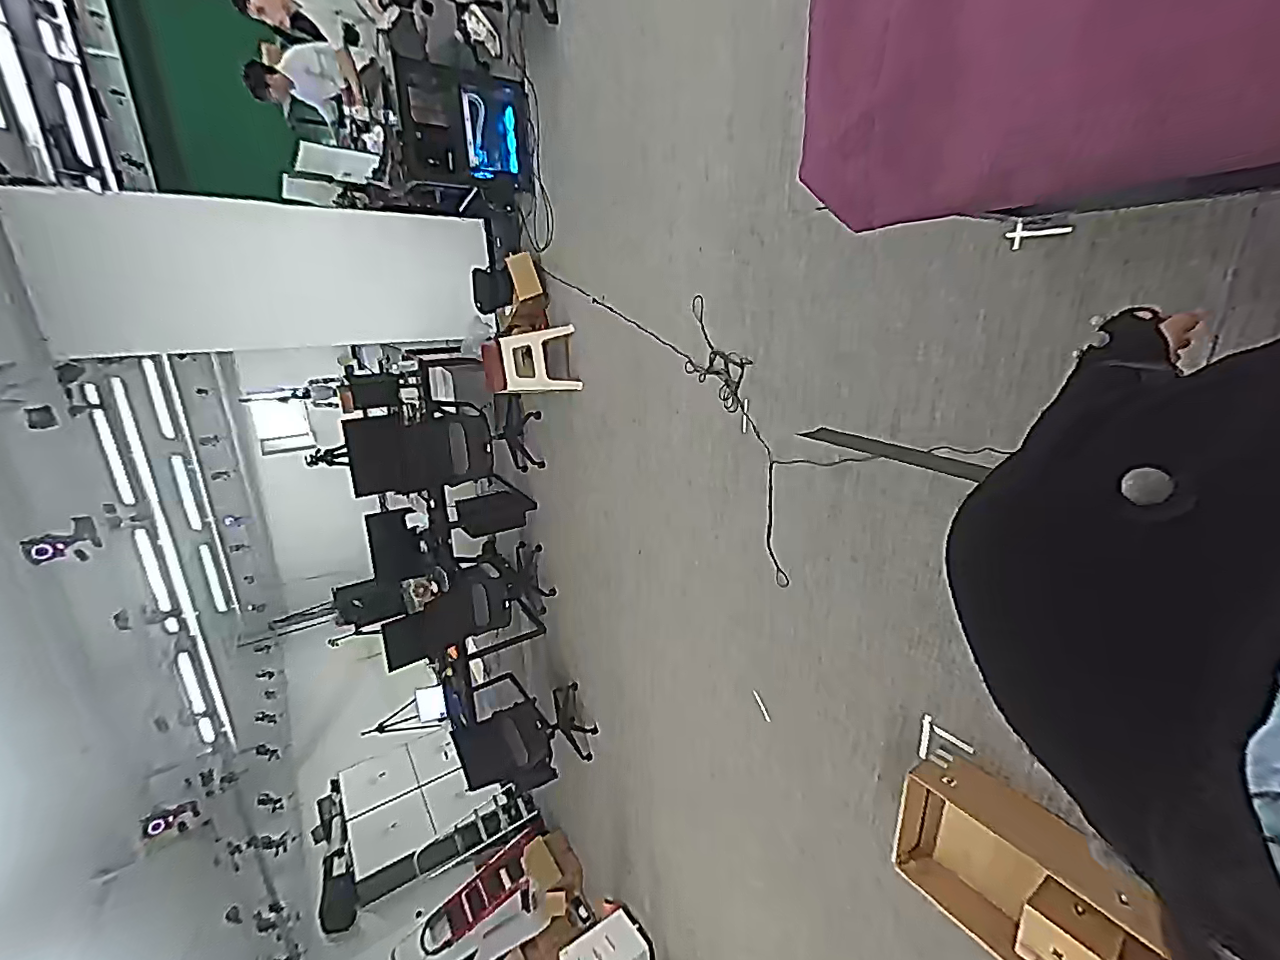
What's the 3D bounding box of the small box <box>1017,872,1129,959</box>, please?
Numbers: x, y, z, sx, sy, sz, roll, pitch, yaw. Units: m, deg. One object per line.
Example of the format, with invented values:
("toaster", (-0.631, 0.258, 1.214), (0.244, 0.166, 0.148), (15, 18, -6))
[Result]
("small box", (1.105, 1.162, 1.379), (0.168, 0.176, 0.179), (22, 120, 54))
